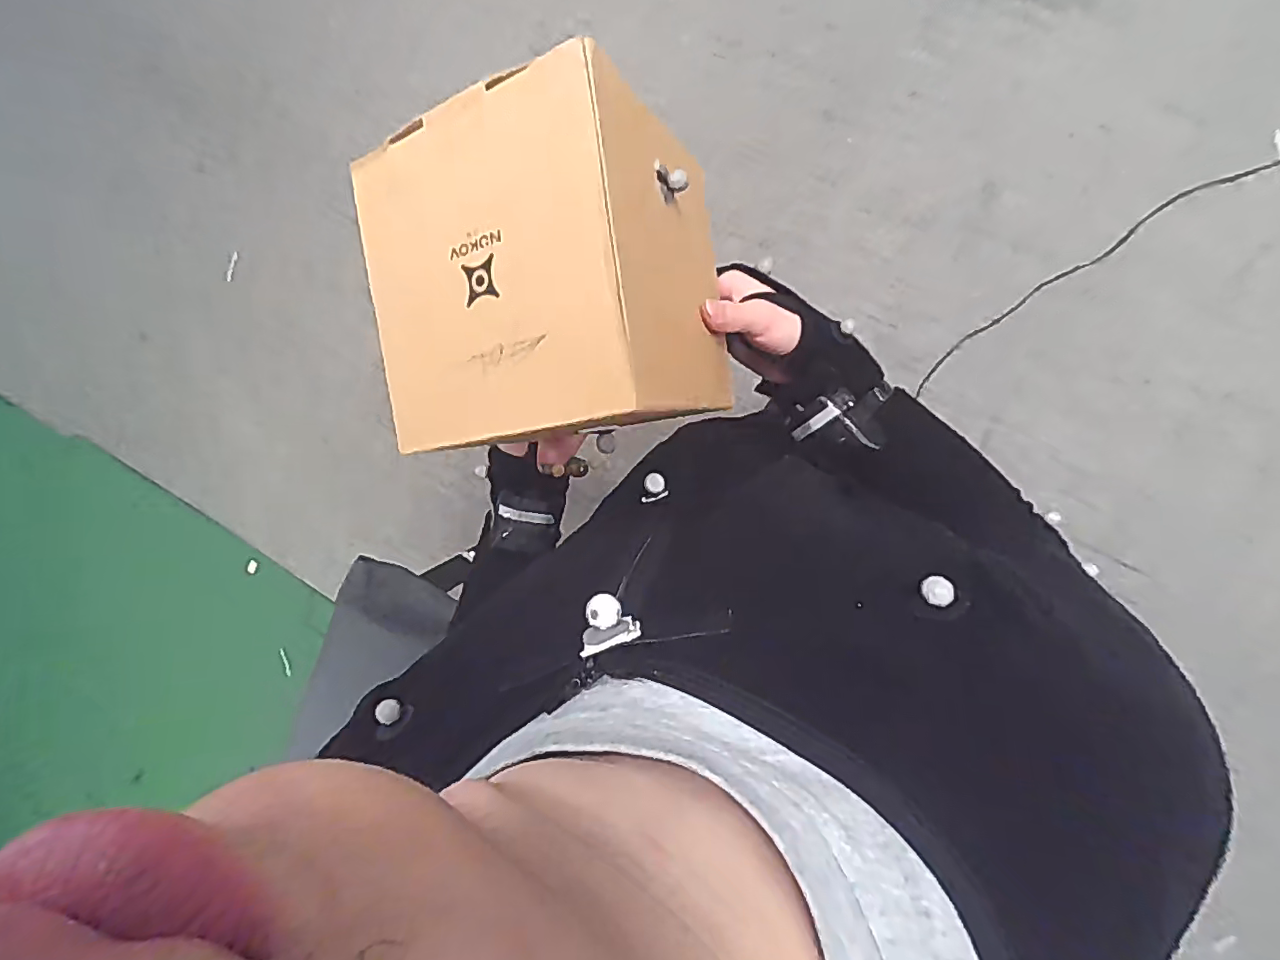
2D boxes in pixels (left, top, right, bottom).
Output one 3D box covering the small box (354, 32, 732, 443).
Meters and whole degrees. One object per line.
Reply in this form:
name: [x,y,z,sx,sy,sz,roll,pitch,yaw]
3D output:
small box: [-0.049,-0.124,0.359,0.168,0.176,0.179,-7,95,28]
